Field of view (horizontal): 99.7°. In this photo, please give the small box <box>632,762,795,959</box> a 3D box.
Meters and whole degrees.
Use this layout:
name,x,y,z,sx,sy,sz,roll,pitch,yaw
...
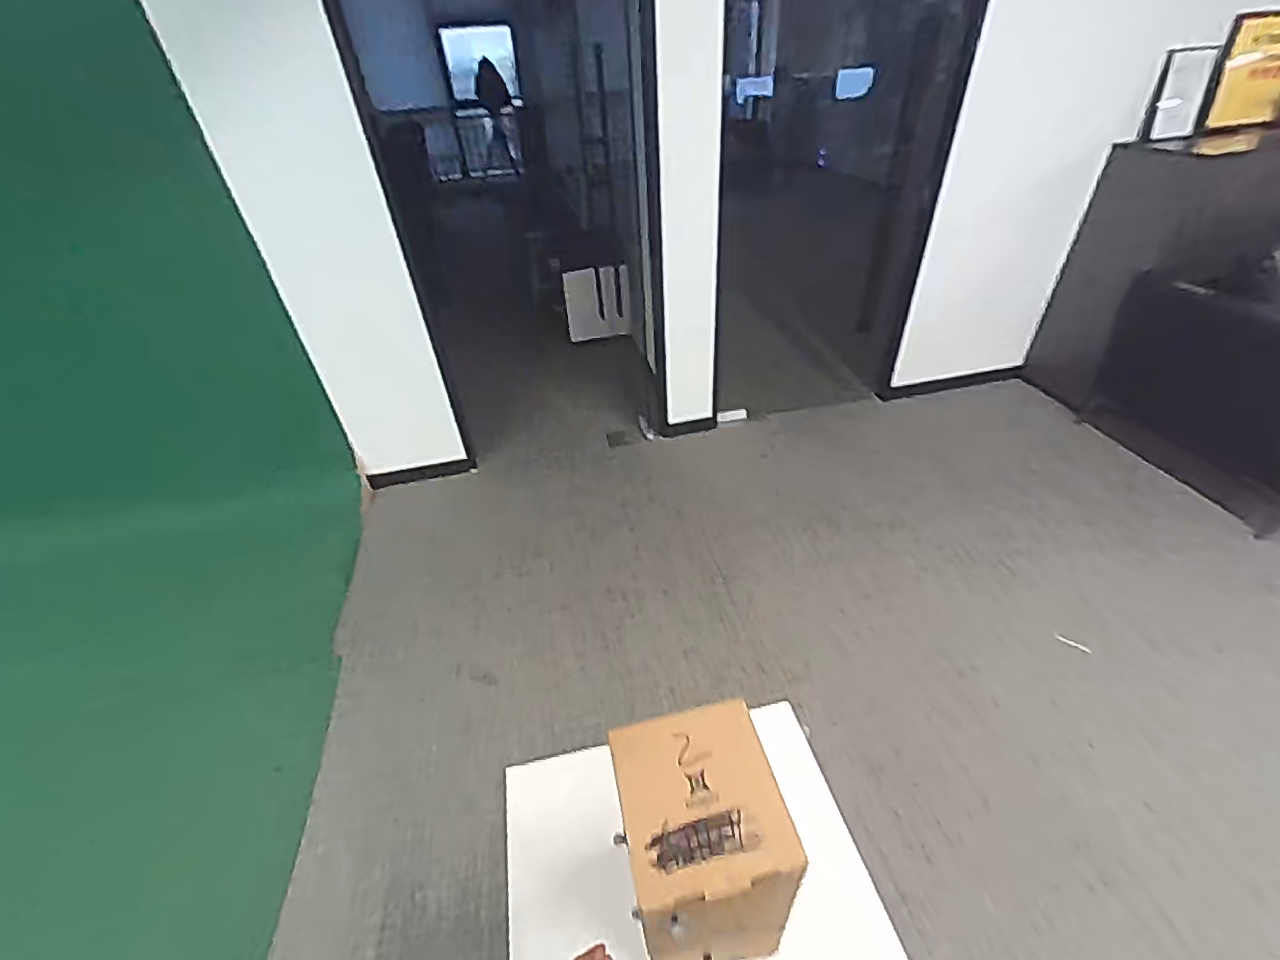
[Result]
name,x,y,z,sx,sy,sz,roll,pitch,yaw
small box,0.085,0.510,0.710,0.168,0.176,0.179,-9,37,-6
